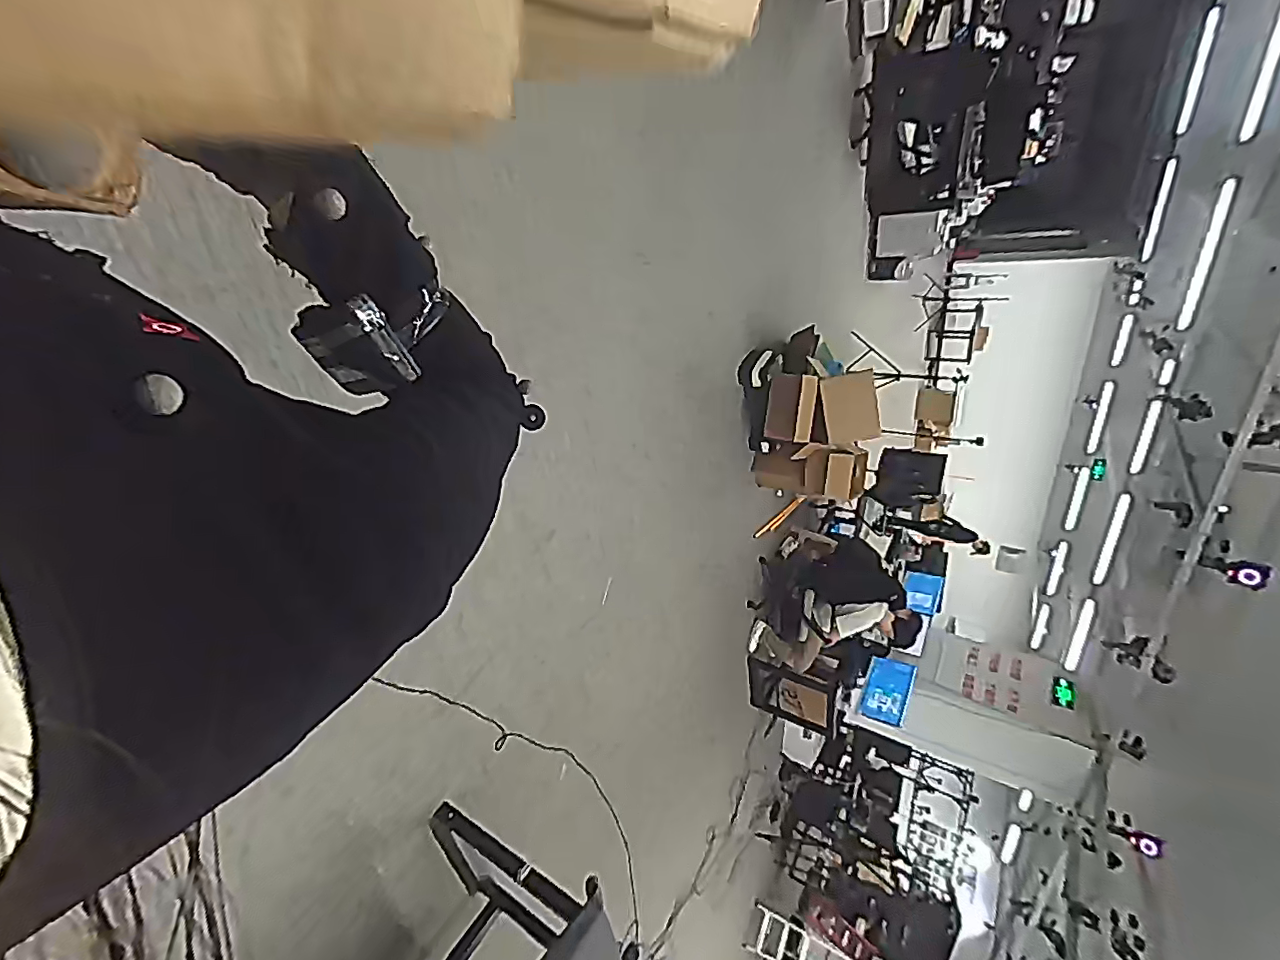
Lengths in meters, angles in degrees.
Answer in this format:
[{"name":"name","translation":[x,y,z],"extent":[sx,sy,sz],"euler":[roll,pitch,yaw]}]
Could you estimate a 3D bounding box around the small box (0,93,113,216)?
[{"name":"small box","translation":[-0.247,-0.169,0.108],"extent":[0.168,0.176,0.179],"euler":[-14,117,-57]}]
